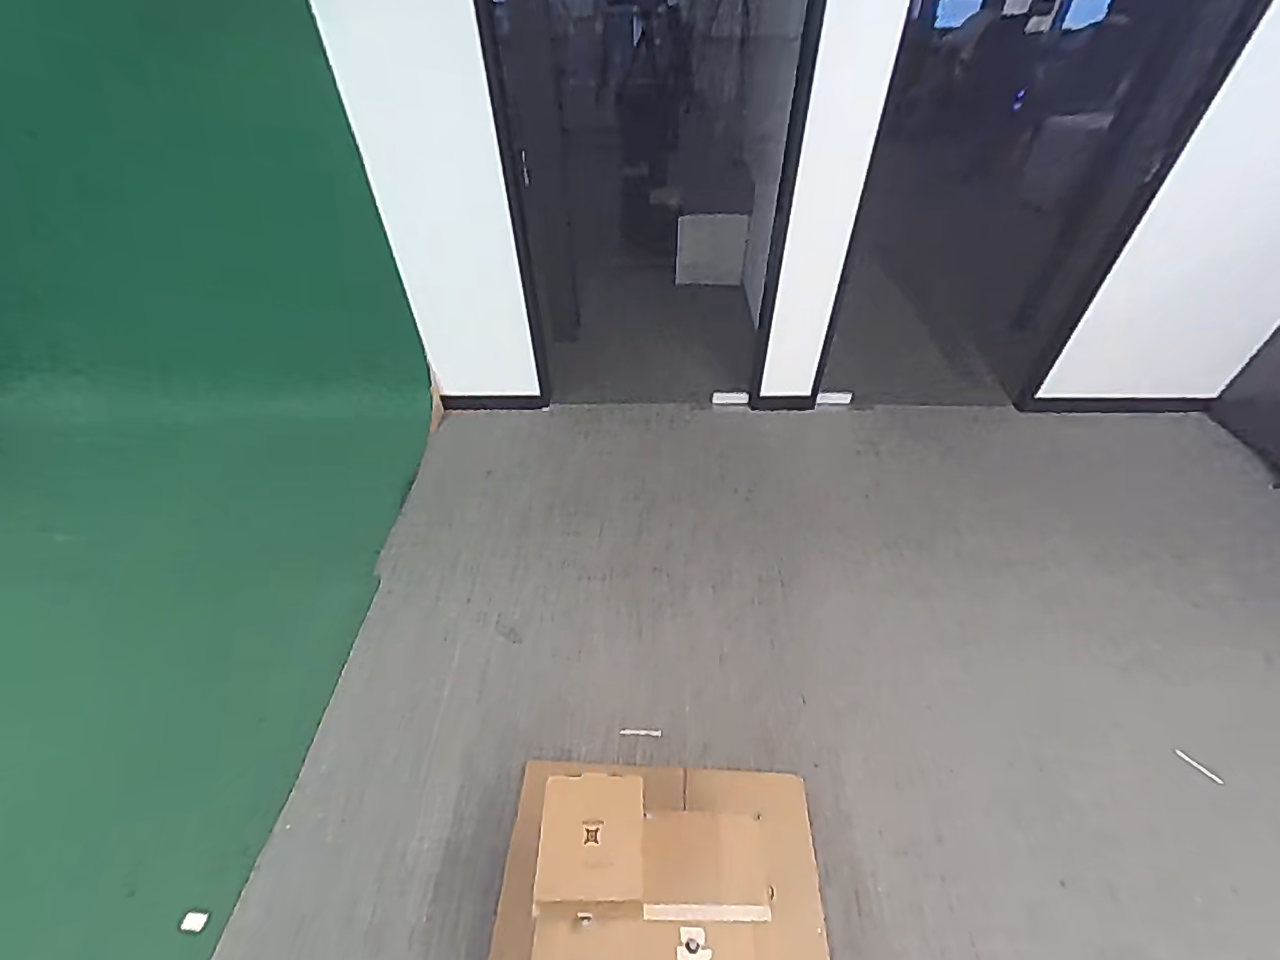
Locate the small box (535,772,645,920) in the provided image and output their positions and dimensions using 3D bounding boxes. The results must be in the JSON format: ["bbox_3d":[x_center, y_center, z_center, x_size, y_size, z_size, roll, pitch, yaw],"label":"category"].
[{"bbox_3d":[-0.076,0.618,0.914,0.168,0.176,0.179,-1,43,0],"label":"small box"}]

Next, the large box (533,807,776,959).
[{"bbox_3d":[0.021,0.843,1.030,0.408,0.320,0.320,1,44,0],"label":"large box"}]
